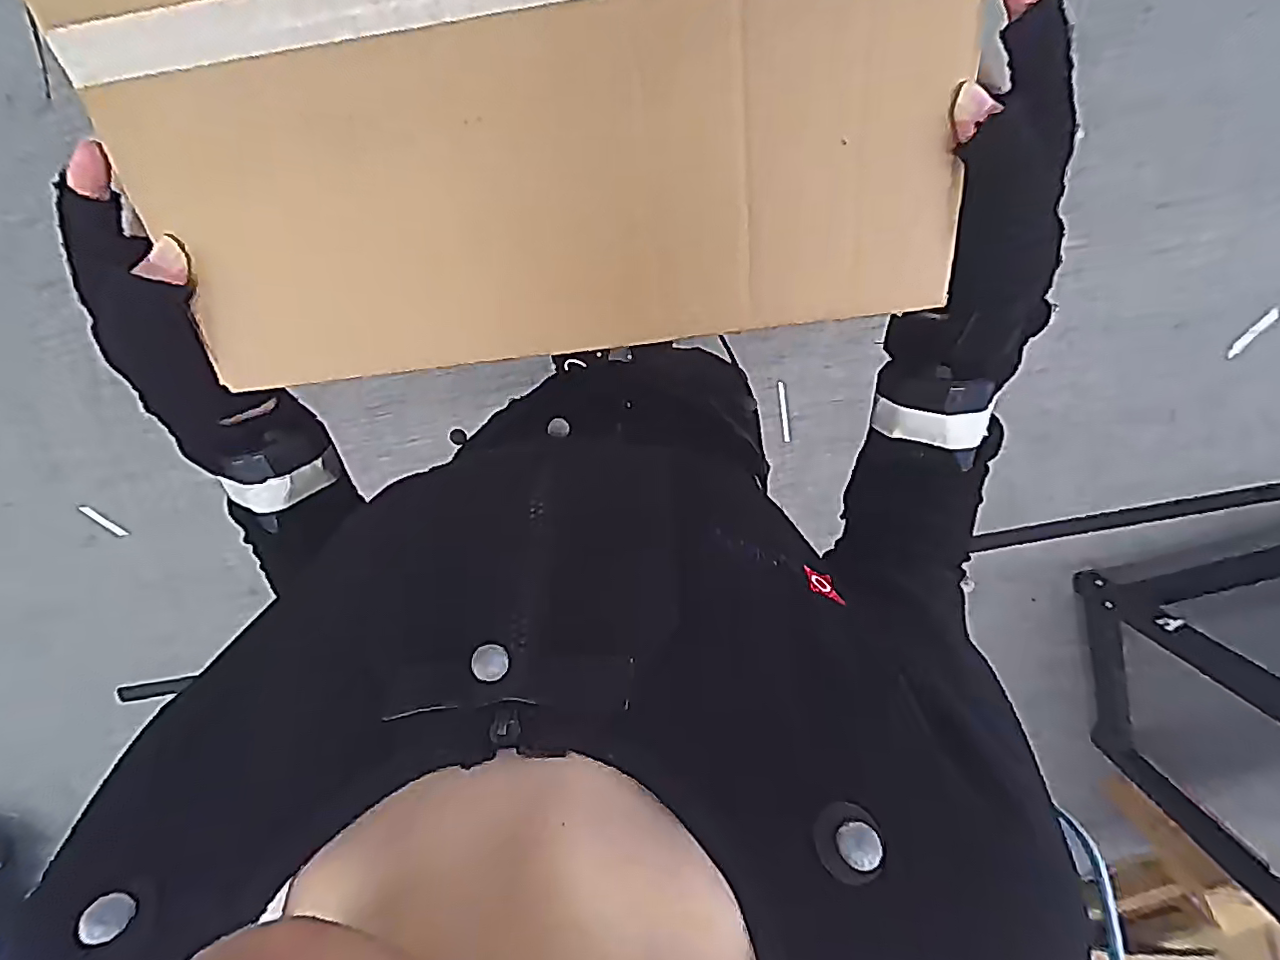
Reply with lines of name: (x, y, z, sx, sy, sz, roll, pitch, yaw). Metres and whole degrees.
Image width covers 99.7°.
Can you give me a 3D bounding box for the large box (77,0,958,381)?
large box: (-0.056, -0.283, 0.376, 0.408, 0.320, 0.320, -6, 117, 4)
